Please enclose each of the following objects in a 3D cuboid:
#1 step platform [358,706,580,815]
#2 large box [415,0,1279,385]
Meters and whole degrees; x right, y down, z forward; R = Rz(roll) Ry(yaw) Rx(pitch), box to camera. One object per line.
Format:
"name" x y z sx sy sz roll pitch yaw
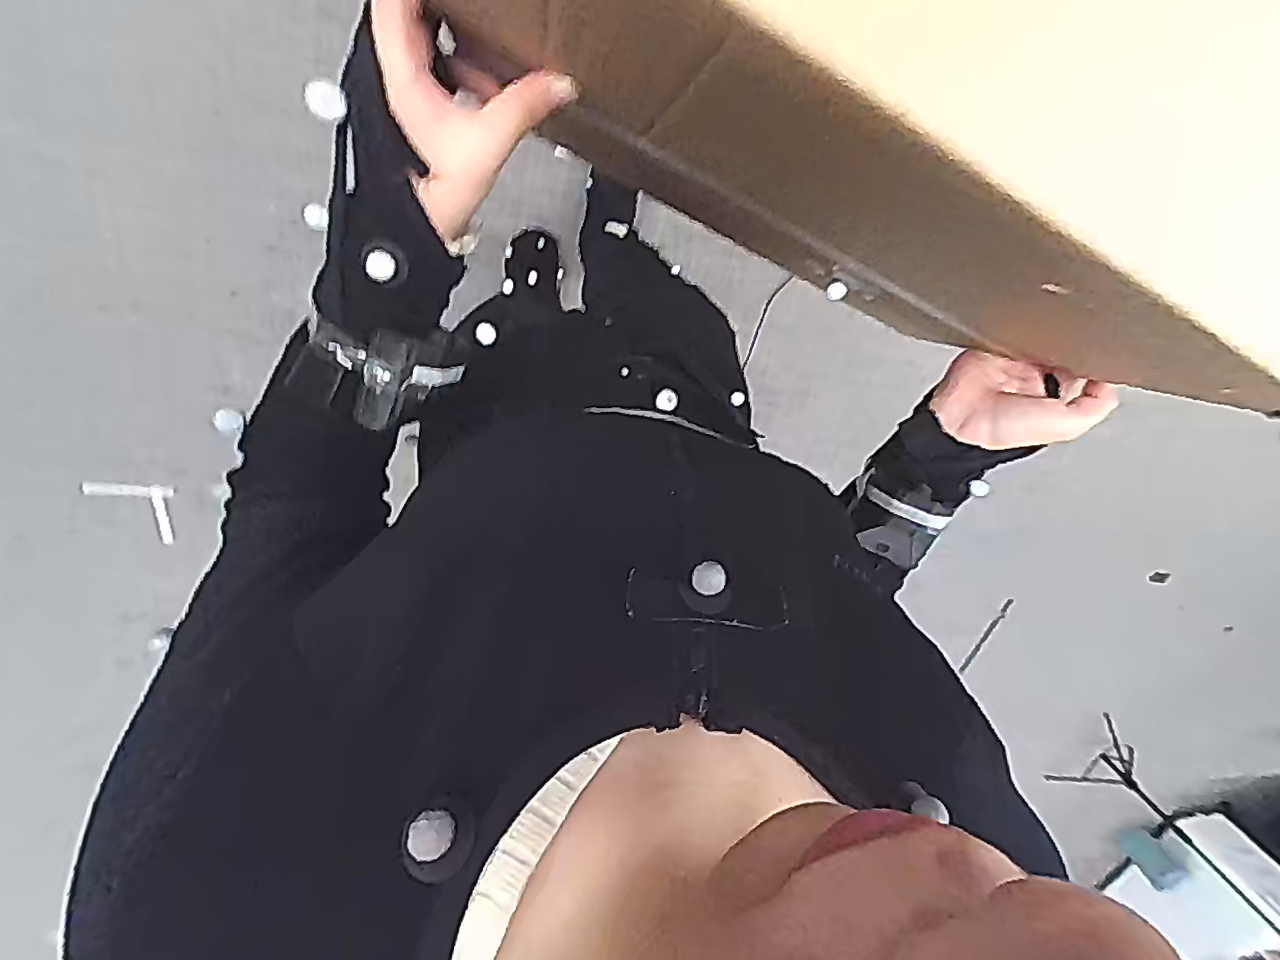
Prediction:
"step platform" -0.546 0.934 1.782 0.684 0.204 0.286 12 115 -17
"large box" 0.137 -0.284 0.257 0.408 0.320 0.320 18 109 -16
